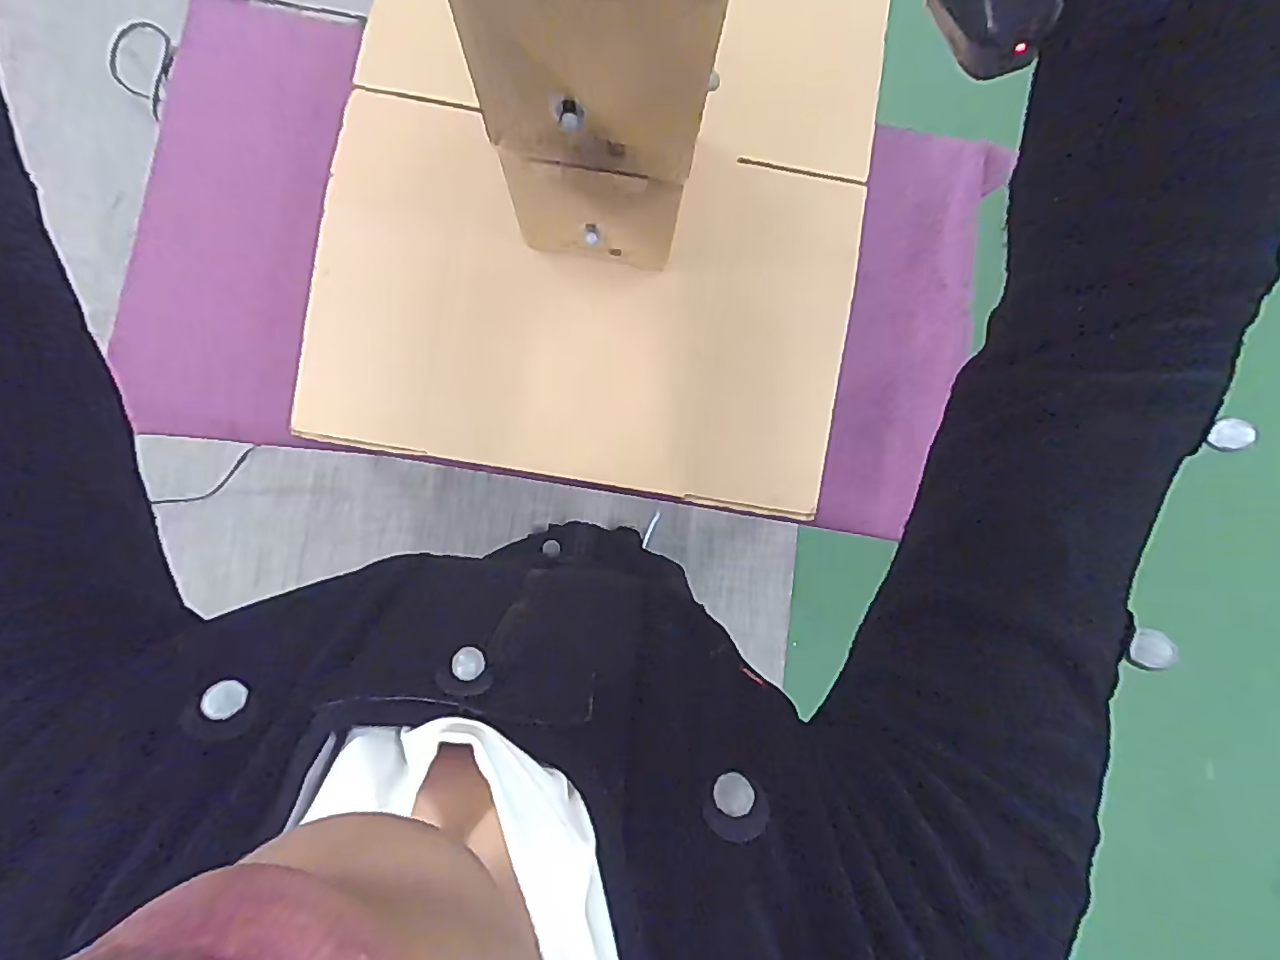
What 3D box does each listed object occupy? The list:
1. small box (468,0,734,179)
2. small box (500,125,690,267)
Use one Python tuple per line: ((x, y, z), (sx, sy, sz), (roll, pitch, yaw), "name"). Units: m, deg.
((-0.021, -0.355, 0.380), (0.168, 0.176, 0.179), (8, 85, -3), "small box")
((-0.029, -0.347, 0.543), (0.168, 0.176, 0.179), (10, 85, -2), "small box")
